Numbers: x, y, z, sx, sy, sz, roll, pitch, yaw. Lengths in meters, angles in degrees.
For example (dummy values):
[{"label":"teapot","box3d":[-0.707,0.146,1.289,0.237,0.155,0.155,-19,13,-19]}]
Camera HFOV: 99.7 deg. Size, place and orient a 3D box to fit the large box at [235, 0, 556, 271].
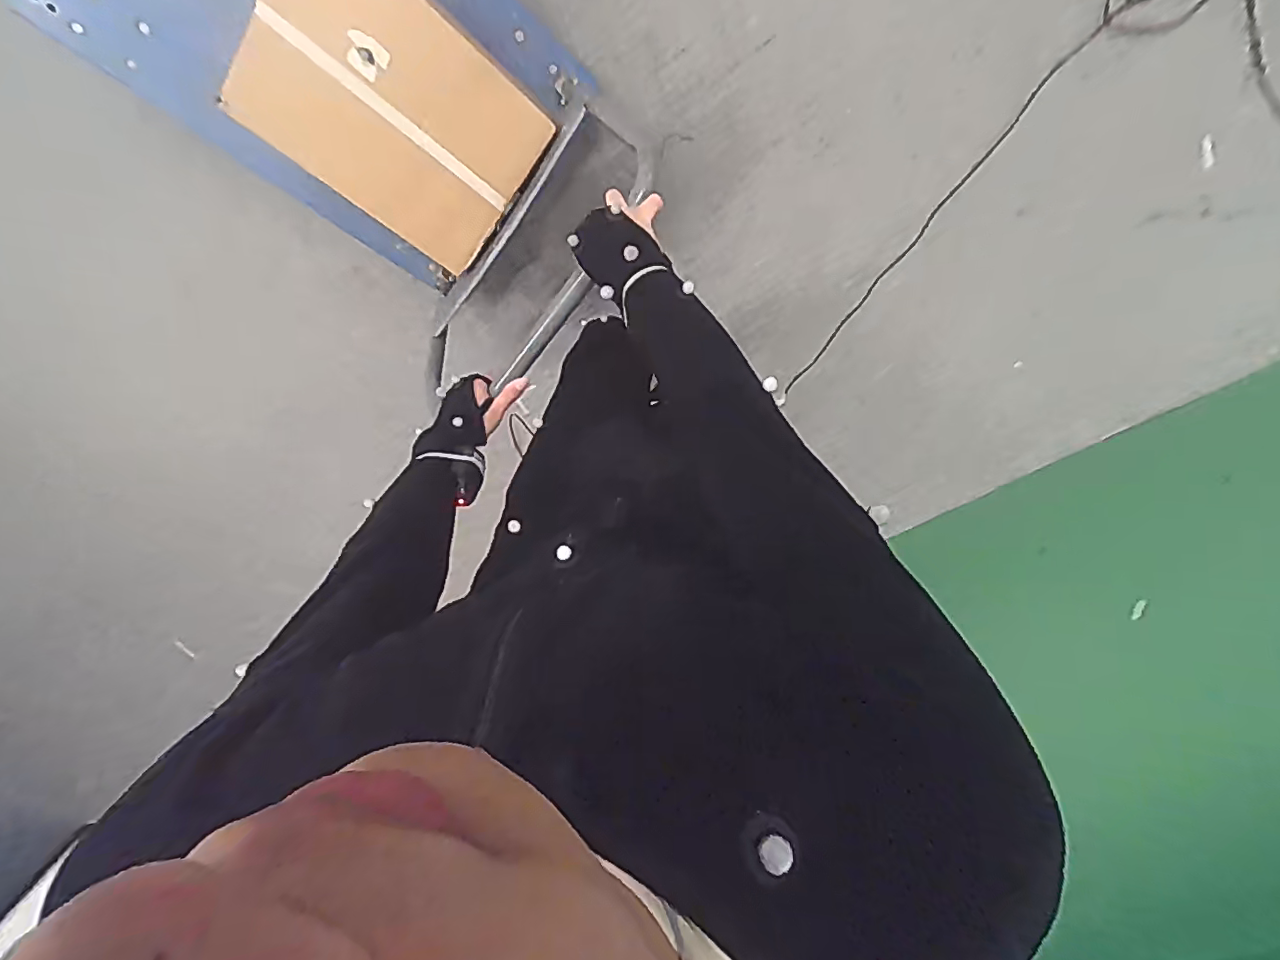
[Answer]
[{"label":"large box","box3d":[-0.404,-0.669,0.991,0.408,0.320,0.320,32,115,-29]}]
